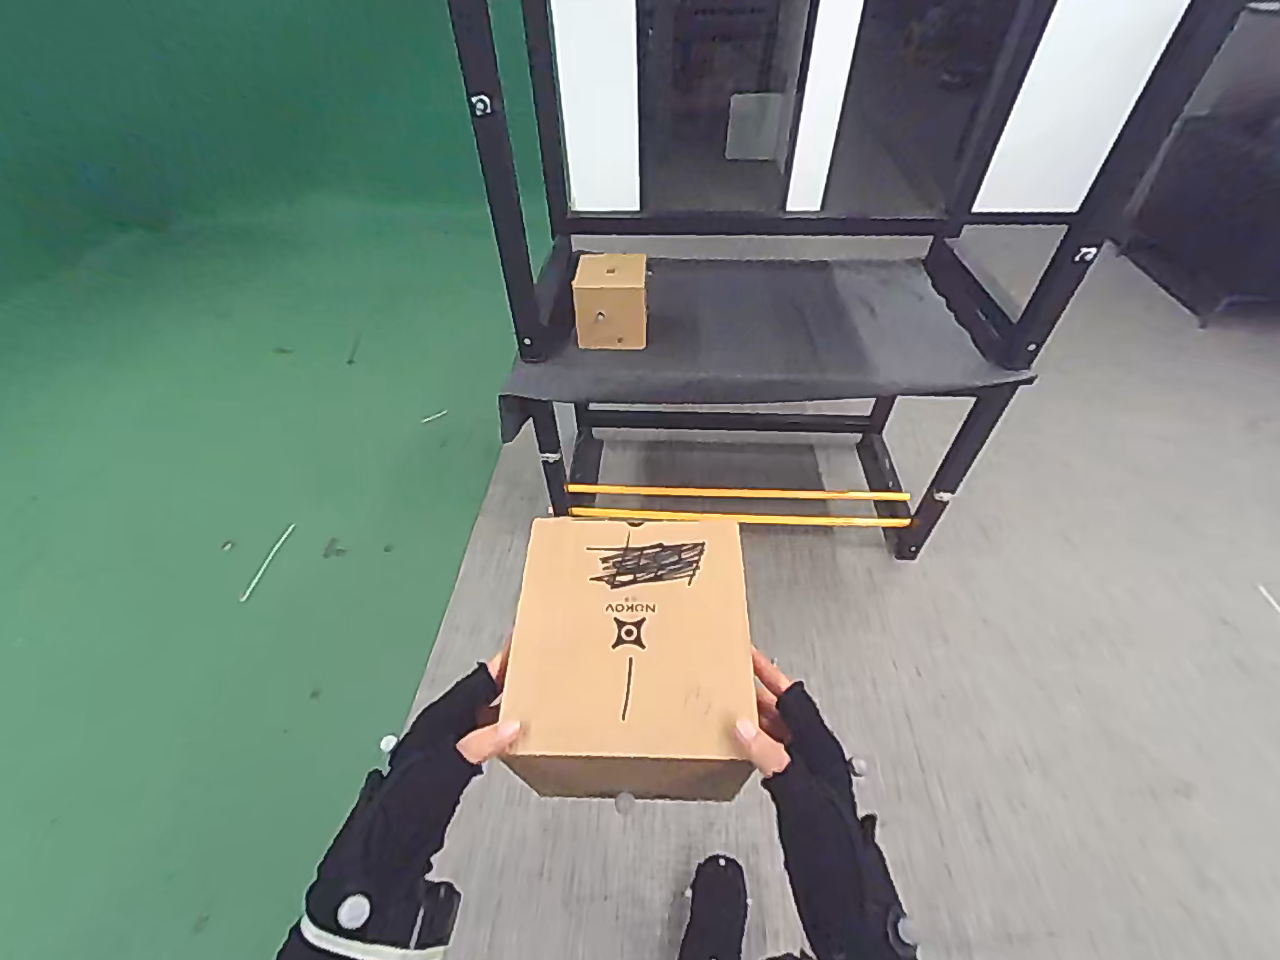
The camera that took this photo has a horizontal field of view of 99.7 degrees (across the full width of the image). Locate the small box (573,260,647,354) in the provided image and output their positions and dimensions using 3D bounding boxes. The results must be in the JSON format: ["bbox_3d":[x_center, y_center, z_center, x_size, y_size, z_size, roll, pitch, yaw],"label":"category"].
[{"bbox_3d":[-0.067,-0.428,1.343,0.168,0.176,0.179,1,45,2],"label":"small box"}]
